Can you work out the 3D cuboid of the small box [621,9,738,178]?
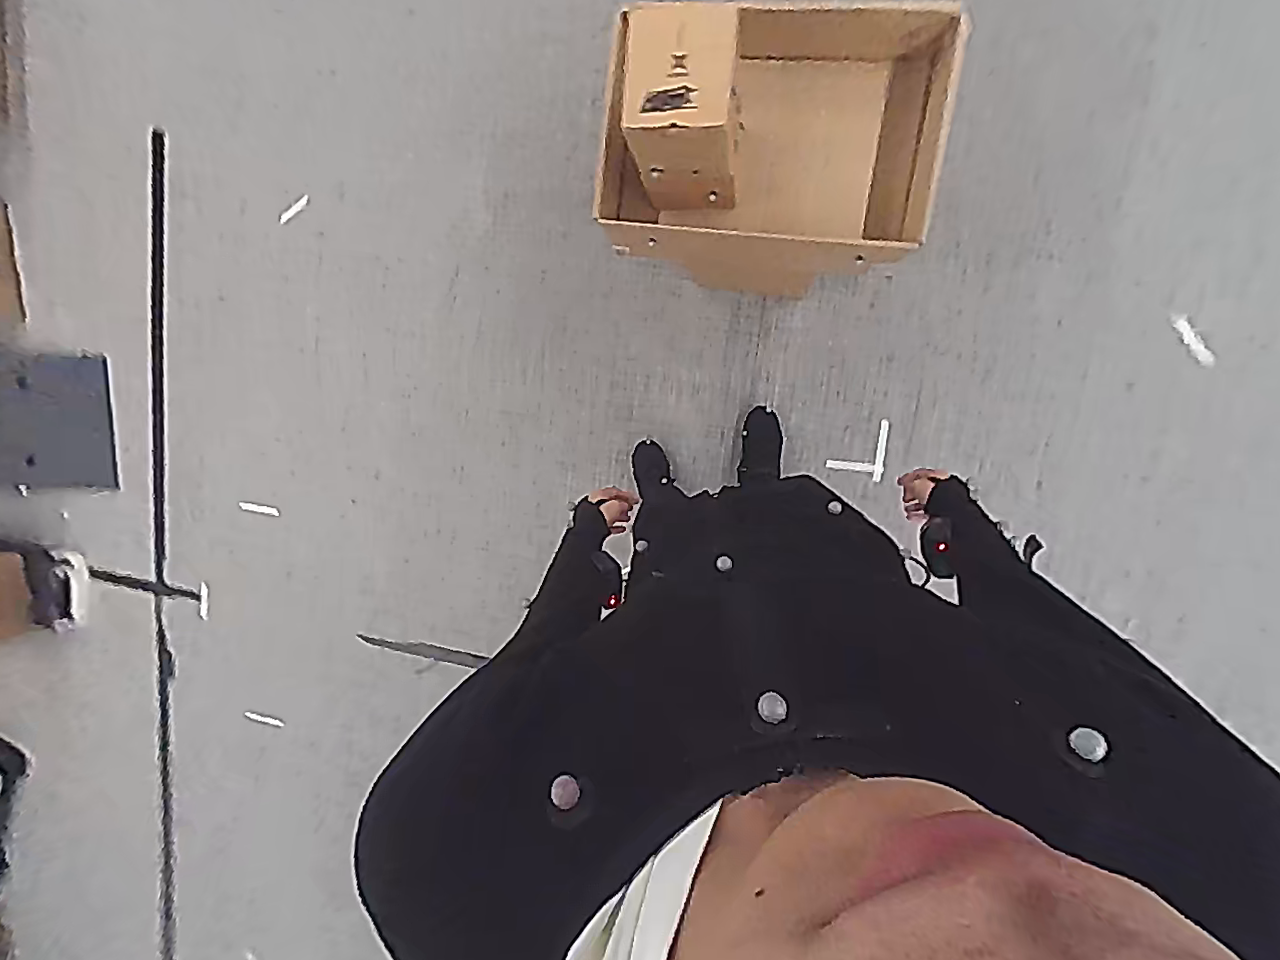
[{"bbox_3d":[0.072,-0.627,0.900,0.168,0.176,0.179,6,96,10],"label":"small box"}]

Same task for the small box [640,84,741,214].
[{"bbox_3d":[0.104,-0.639,1.060,0.179,0.176,0.168,5,97,11],"label":"small box"}]
